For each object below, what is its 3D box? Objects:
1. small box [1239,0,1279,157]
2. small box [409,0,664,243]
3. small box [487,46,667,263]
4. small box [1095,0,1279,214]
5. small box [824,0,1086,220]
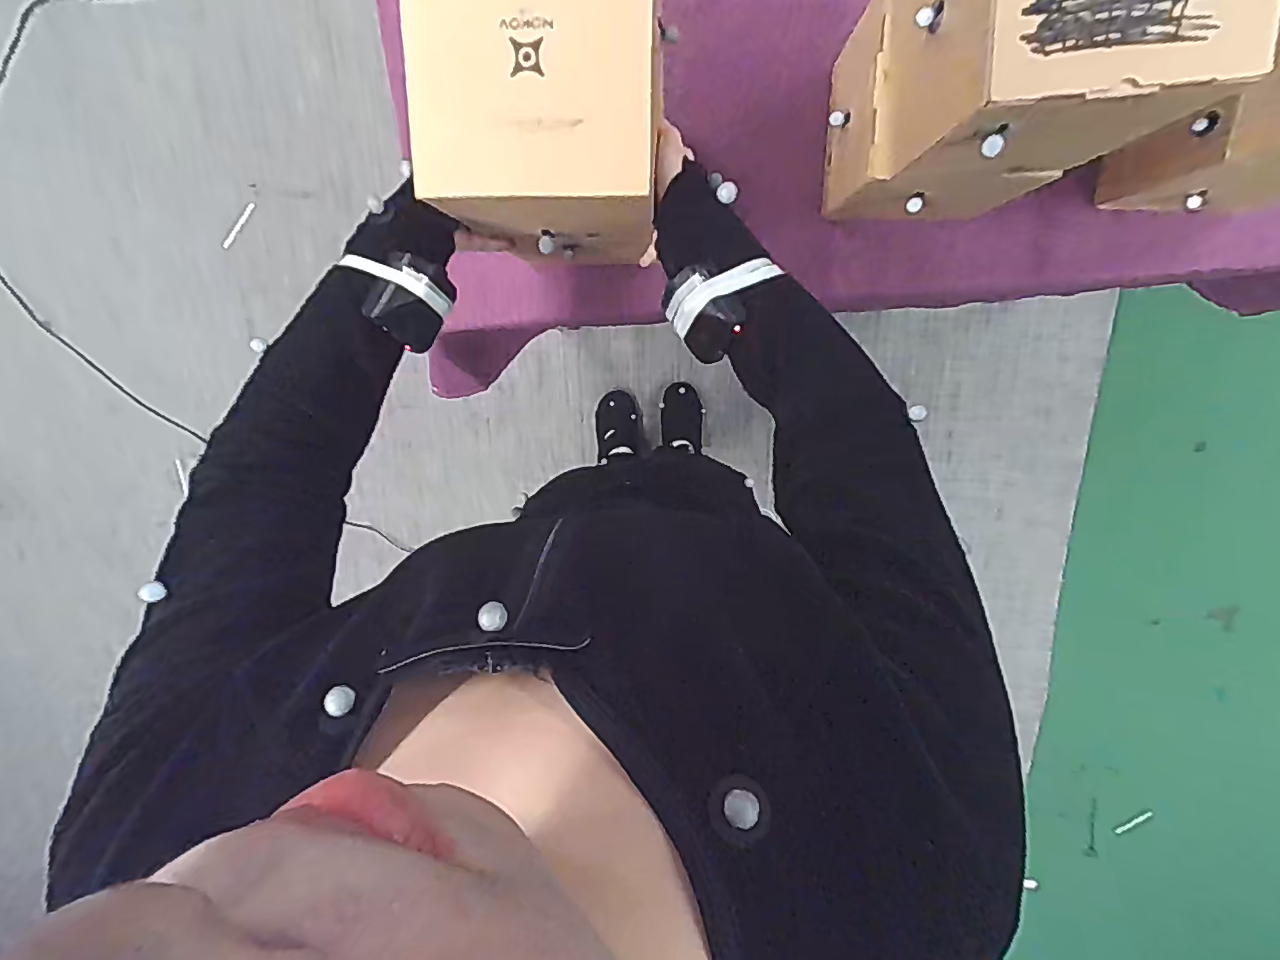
[{"bbox_3d":[0.605,-0.345,0.383,0.168,0.176,0.179,1,104,3],"label":"small box"},{"bbox_3d":[-0.067,-0.302,0.434,0.168,0.176,0.179,2,104,3],"label":"small box"},{"bbox_3d":[-0.060,-0.337,0.592,0.179,0.176,0.168,1,103,2],"label":"small box"},{"bbox_3d":[0.613,-0.385,0.543,0.168,0.176,0.179,3,104,3],"label":"small box"},{"bbox_3d":[0.302,-0.377,0.562,0.179,0.176,0.168,2,104,4],"label":"small box"}]
